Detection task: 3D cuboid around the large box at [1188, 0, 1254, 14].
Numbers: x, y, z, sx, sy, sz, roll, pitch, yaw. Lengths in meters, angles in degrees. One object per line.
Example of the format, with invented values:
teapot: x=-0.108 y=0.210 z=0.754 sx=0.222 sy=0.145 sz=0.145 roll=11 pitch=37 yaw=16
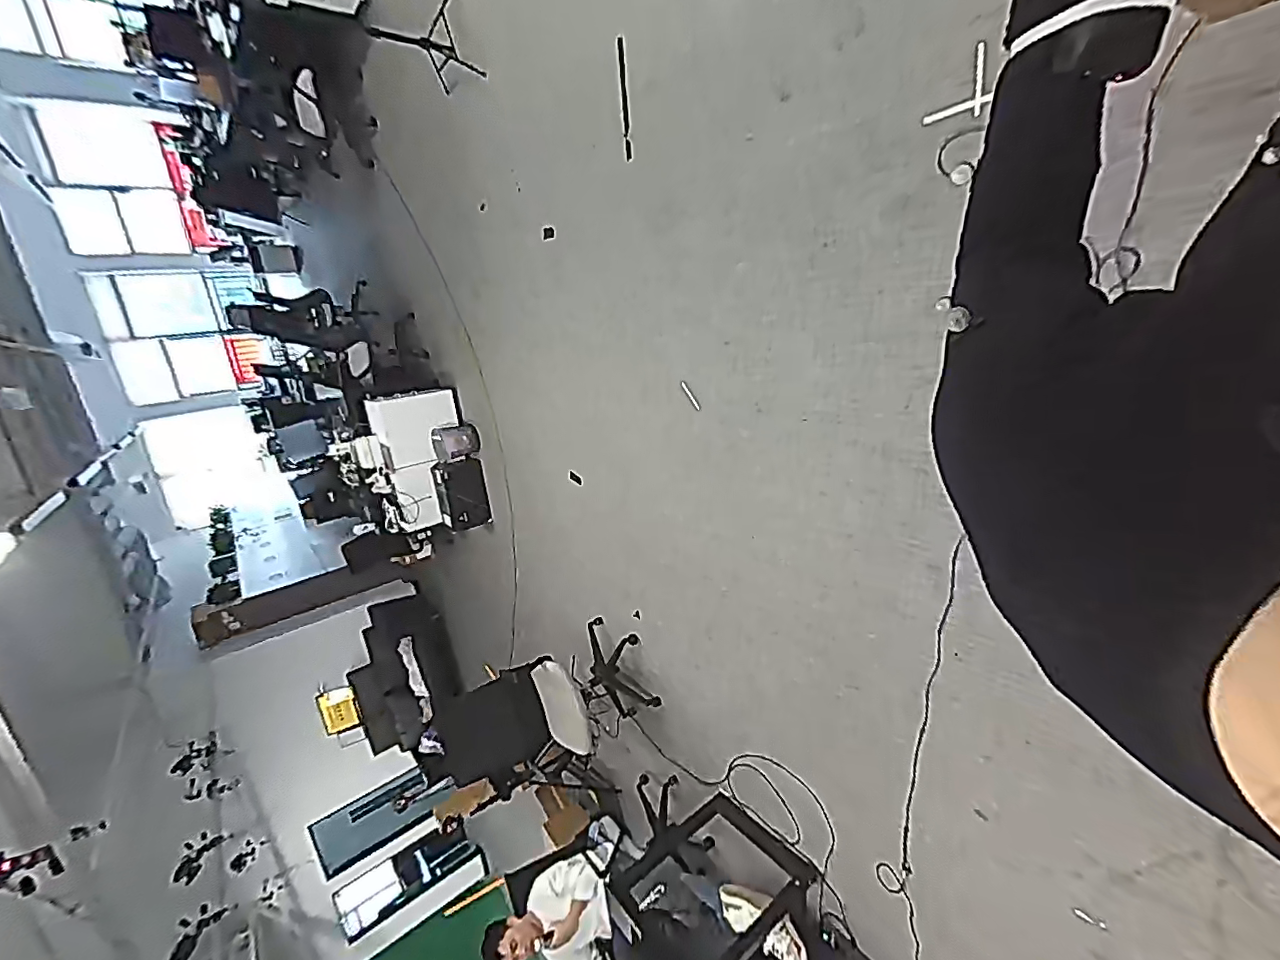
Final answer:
large box: x=0.530 y=-0.516 z=0.247 sx=0.408 sy=0.320 sz=0.320 roll=9 pitch=120 yaw=50
